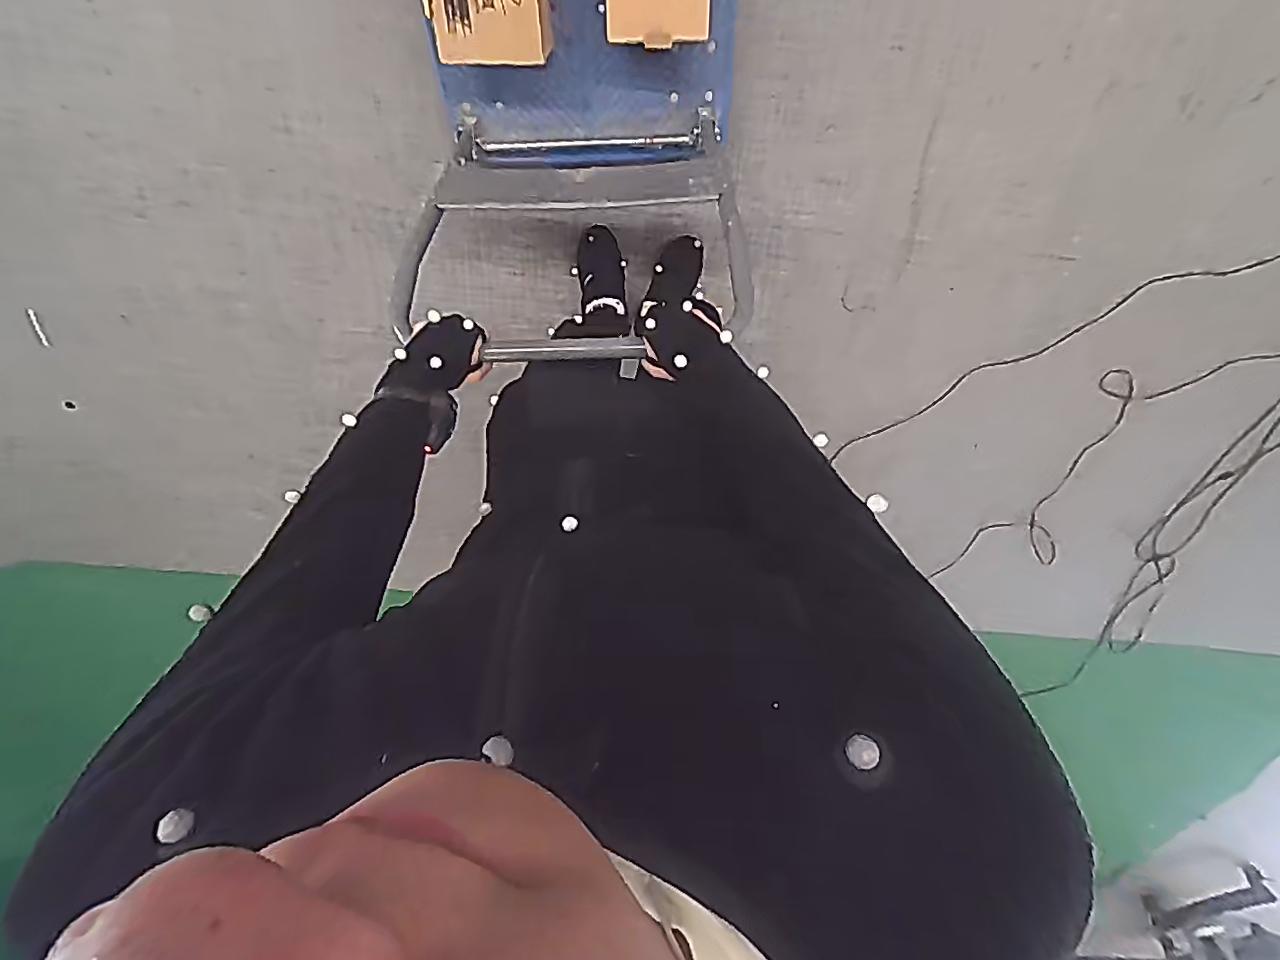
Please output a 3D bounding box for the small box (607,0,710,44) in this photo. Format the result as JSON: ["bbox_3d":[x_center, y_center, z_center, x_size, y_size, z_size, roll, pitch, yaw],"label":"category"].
[{"bbox_3d":[0.027,-0.836,0.878,0.168,0.176,0.179,-1,139,0],"label":"small box"}]
